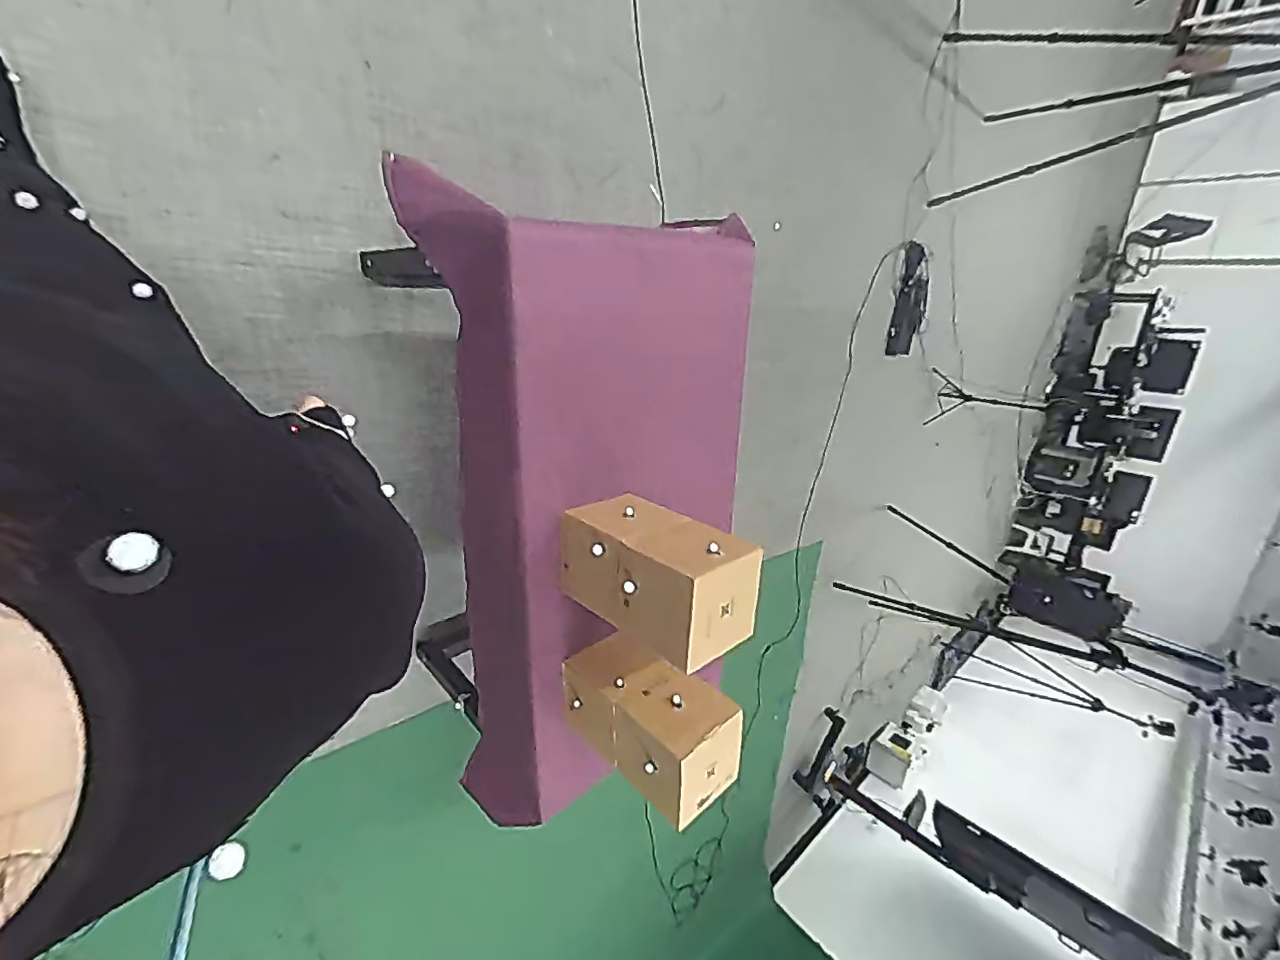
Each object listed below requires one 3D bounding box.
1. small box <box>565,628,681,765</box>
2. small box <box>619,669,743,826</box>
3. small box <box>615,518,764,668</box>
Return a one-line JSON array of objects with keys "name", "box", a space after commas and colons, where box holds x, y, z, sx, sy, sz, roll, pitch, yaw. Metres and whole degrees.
[{"name": "small box", "box": [-0.036, 0.438, 1.128, 0.179, 0.176, 0.168, -18, 117, -39]}, {"name": "small box", "box": [0.073, 0.482, 1.013, 0.168, 0.176, 0.179, -18, 117, -38]}, {"name": "small box", "box": [0.081, 0.174, 0.904, 0.179, 0.176, 0.168, -13, 113, -42]}]
